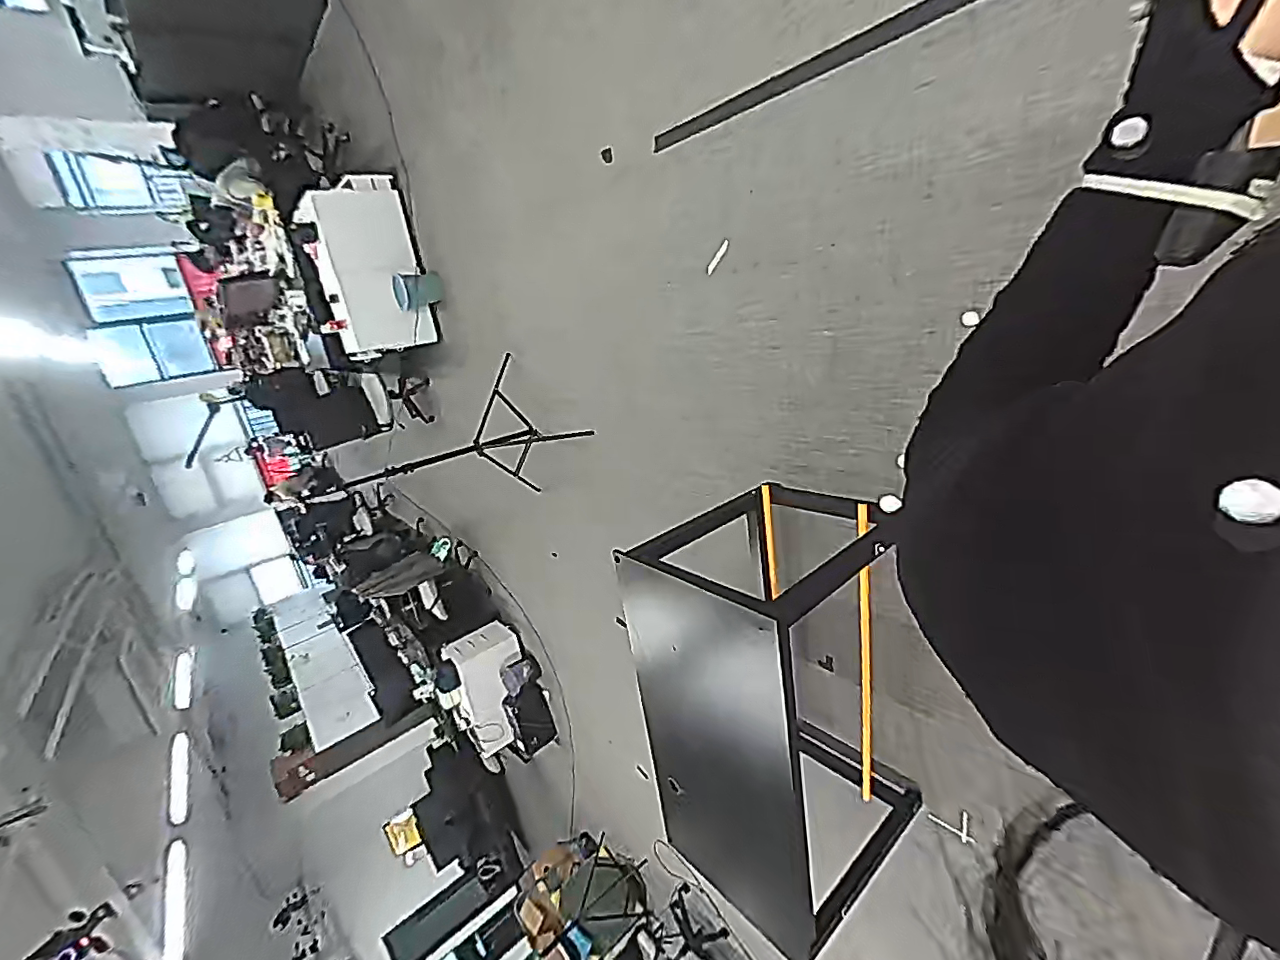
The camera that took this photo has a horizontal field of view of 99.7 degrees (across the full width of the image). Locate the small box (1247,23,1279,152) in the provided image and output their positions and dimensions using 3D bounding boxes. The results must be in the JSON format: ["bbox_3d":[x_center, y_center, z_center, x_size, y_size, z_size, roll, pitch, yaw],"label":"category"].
[{"bbox_3d":[1.042,-0.594,0.788,0.179,0.176,0.168,15,120,49],"label":"small box"}]
